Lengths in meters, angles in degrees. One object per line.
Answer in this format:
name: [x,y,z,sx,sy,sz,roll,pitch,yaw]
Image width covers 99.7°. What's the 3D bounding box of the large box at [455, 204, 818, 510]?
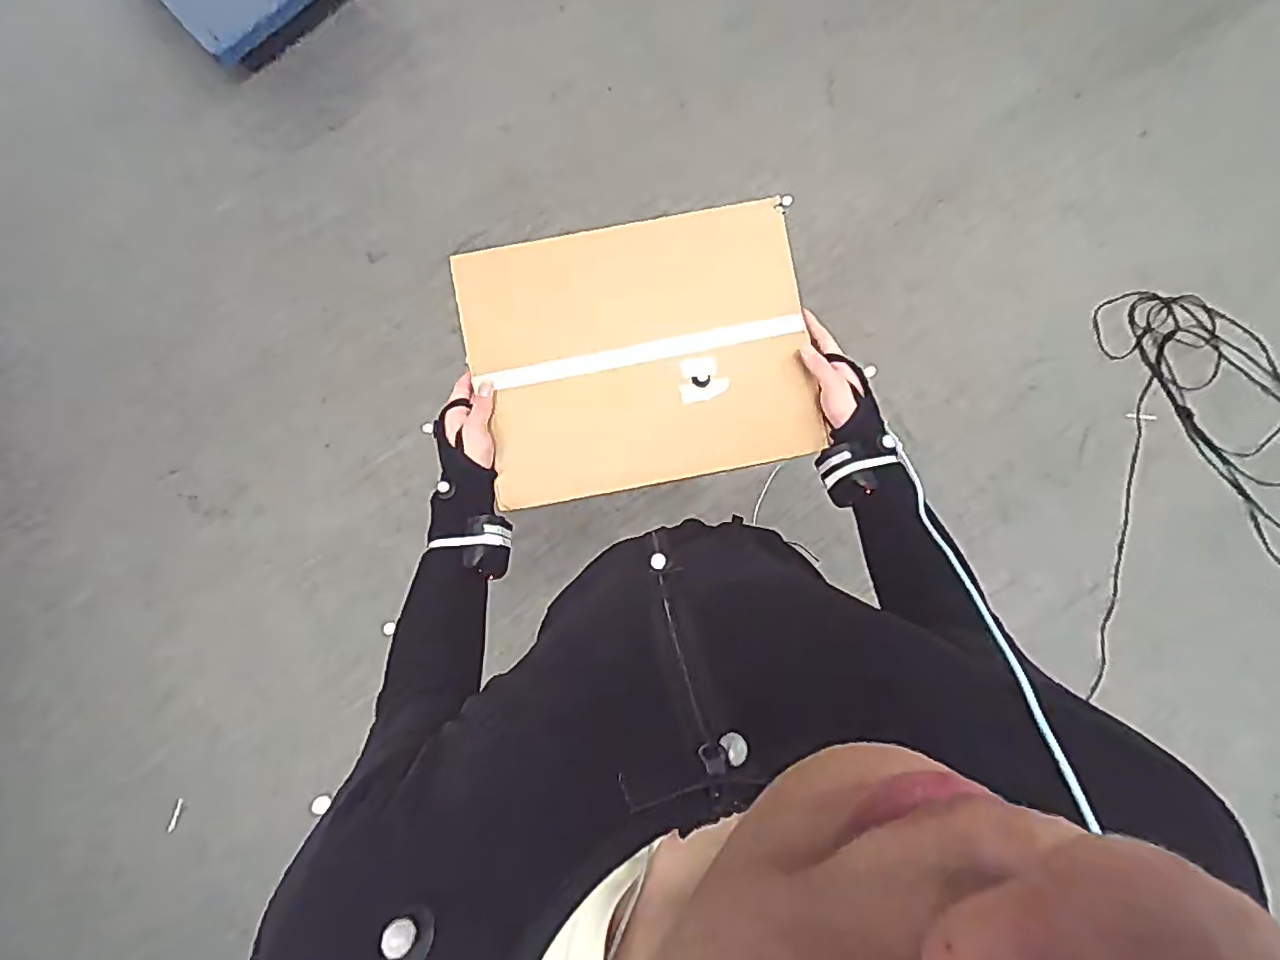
large box: [-0.007,-0.150,0.810,0.408,0.320,0.320,-11,90,-1]
